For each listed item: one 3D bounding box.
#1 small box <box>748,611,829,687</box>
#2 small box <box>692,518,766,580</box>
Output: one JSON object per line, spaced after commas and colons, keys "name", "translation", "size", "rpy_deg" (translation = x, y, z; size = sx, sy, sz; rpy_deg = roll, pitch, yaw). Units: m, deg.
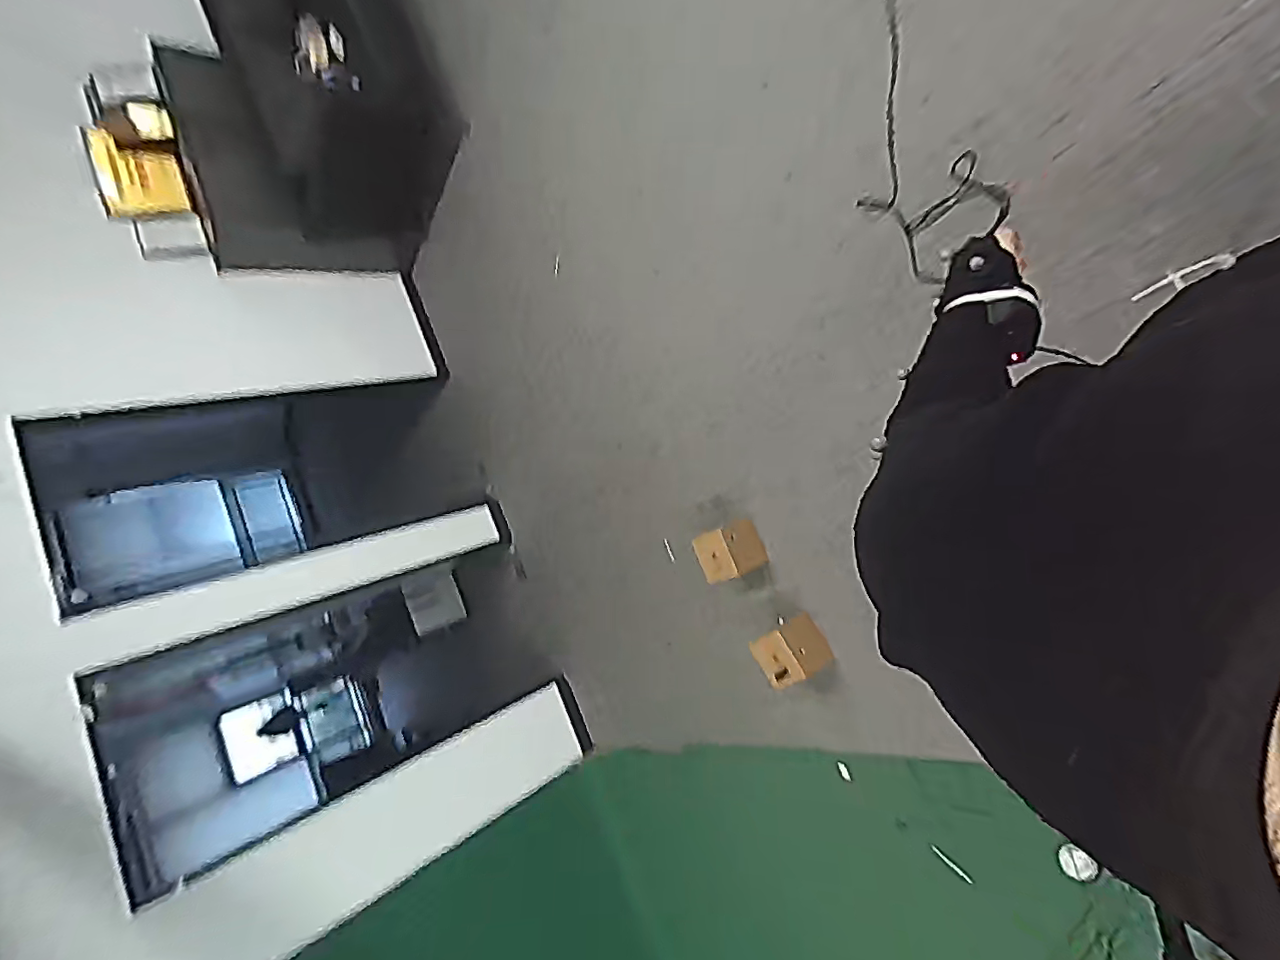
{"name": "small box", "translation": [0.514, 0.579, 1.861], "size": [0.179, 0.176, 0.168], "rpy_deg": [60, 139, 17]}
{"name": "small box", "translation": [0.325, 0.246, 1.972], "size": [0.168, 0.176, 0.179], "rpy_deg": [-31, 79, 51]}
